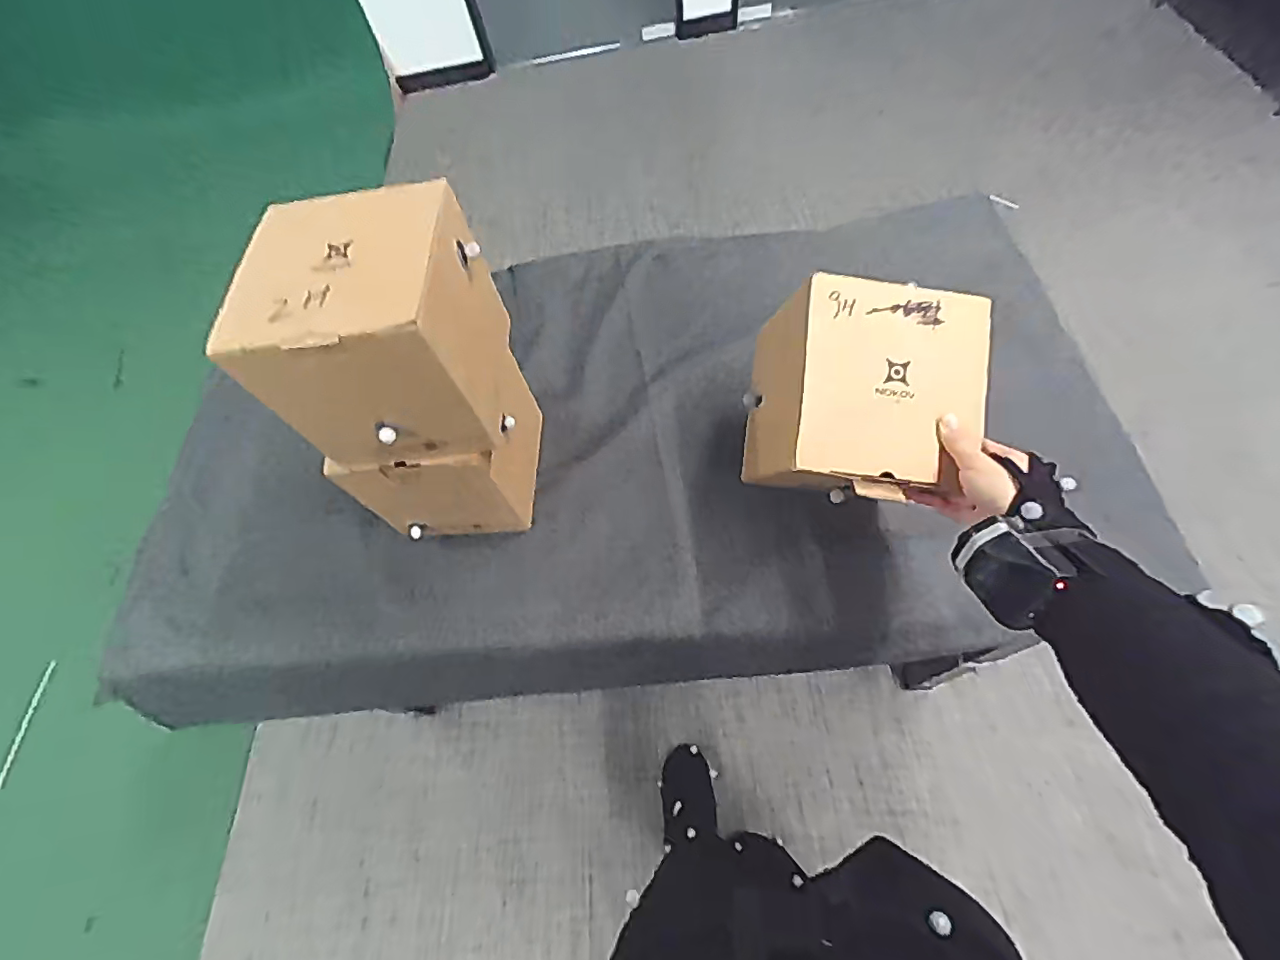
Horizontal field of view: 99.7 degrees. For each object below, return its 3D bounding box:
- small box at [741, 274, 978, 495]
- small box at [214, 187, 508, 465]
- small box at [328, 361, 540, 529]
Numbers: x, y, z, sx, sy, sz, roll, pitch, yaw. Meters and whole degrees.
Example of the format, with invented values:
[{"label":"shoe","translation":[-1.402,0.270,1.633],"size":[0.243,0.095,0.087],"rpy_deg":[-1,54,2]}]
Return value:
[{"label":"small box","translation":[0.207,-0.081,0.554],"size":[0.168,0.176,0.179],"rpy_deg":[7,85,-3]},{"label":"small box","translation":[-0.232,-0.136,0.507],"size":[0.168,0.176,0.179],"rpy_deg":[-6,61,6]},{"label":"small box","translation":[-0.225,-0.048,0.647],"size":[0.168,0.176,0.179],"rpy_deg":[-3,60,6]}]
